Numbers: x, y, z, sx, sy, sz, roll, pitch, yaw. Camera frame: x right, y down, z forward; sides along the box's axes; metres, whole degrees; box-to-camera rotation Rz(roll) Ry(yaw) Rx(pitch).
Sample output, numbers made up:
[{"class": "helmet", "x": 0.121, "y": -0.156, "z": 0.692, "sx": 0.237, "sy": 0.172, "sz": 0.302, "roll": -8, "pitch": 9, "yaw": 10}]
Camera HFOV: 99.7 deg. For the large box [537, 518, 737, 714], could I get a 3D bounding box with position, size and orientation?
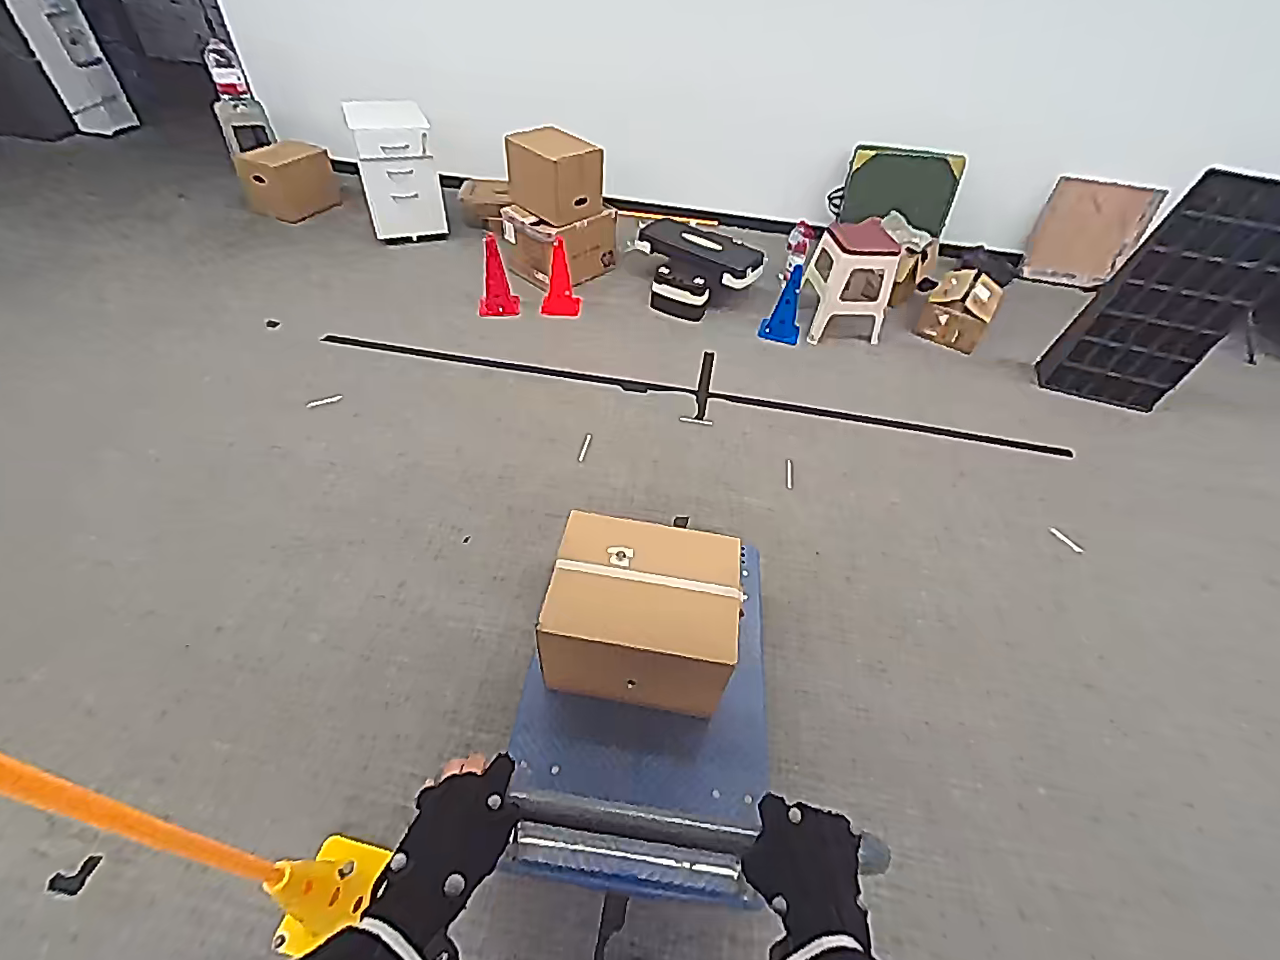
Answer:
[{"class": "large box", "x": 0.002, "y": 0.327, "z": 1.284, "sx": 0.408, "sy": 0.320, "sz": 0.320, "roll": 9, "pitch": 48, "yaw": 4}]
